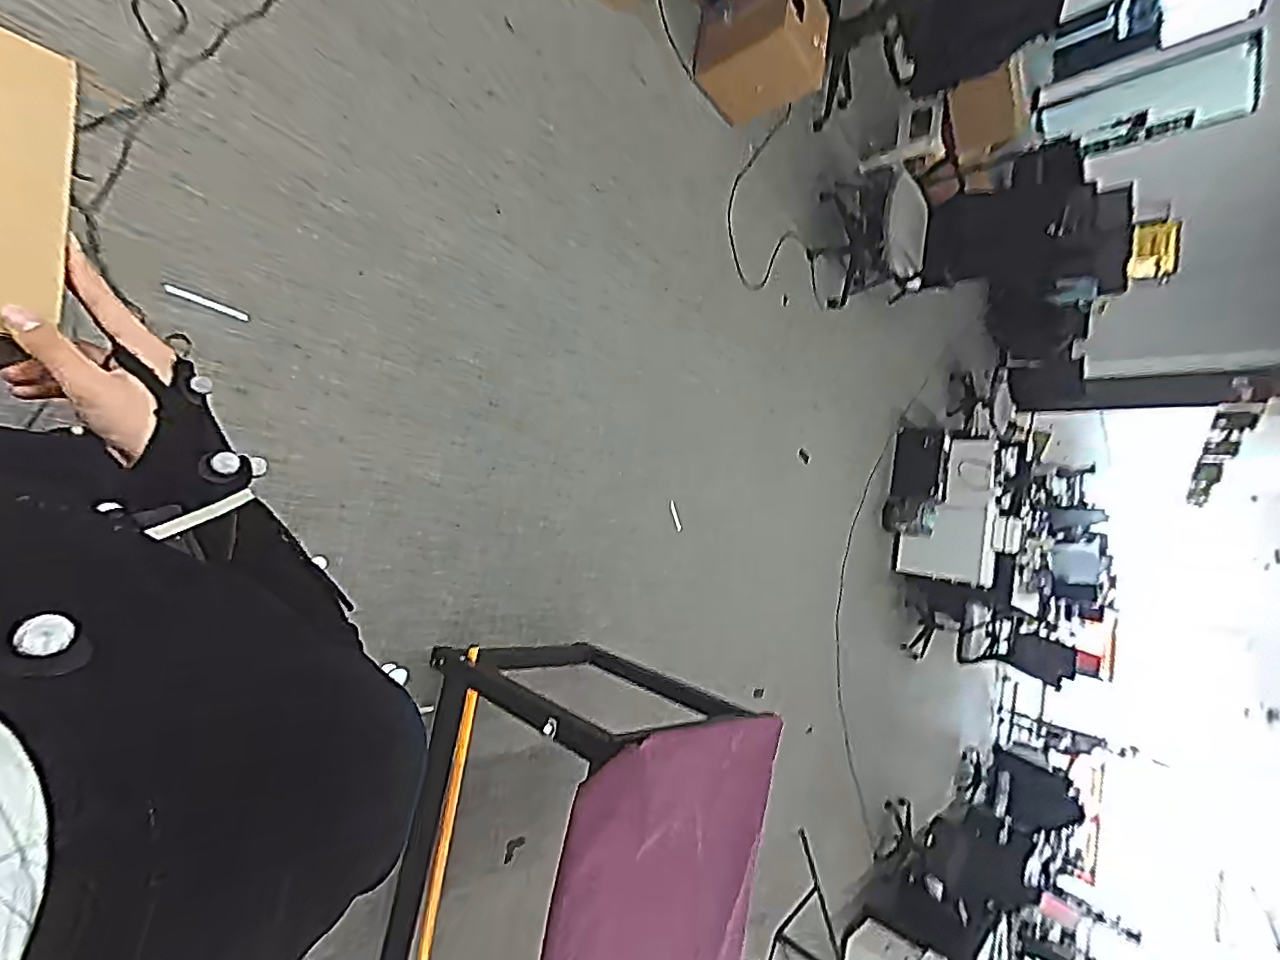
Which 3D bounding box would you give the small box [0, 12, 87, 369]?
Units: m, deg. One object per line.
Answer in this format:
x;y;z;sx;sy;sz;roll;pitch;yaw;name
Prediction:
-0.444;-0.171;0.296;0.168;0.176;0.179;5;84;-55;small box
